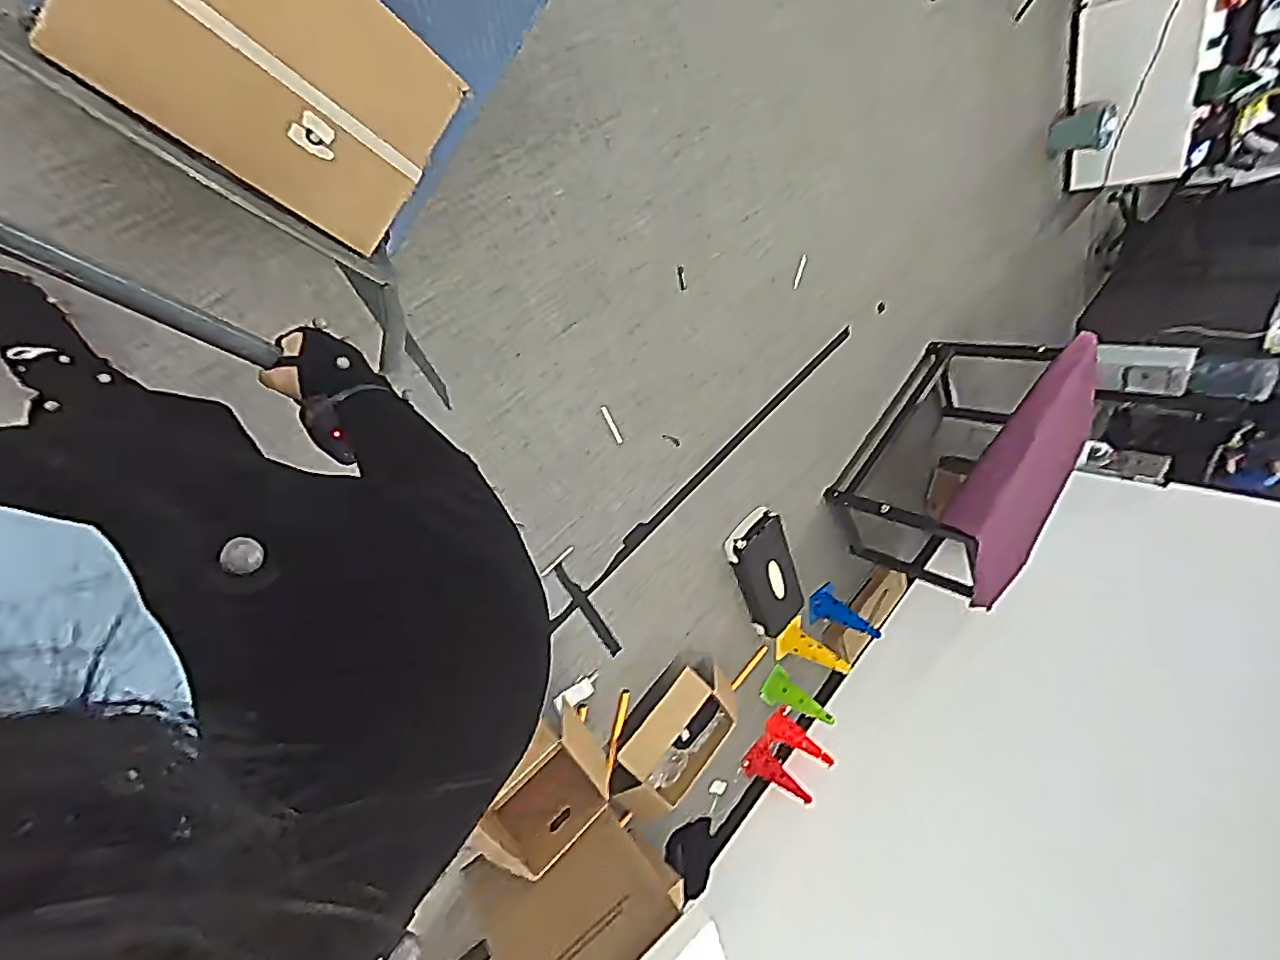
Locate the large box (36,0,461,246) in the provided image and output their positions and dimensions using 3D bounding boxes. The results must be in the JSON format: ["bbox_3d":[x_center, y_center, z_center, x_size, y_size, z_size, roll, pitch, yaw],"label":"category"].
[{"bbox_3d":[-0.569,-0.652,0.849,0.408,0.320,0.320,28,106,-42],"label":"large box"}]
